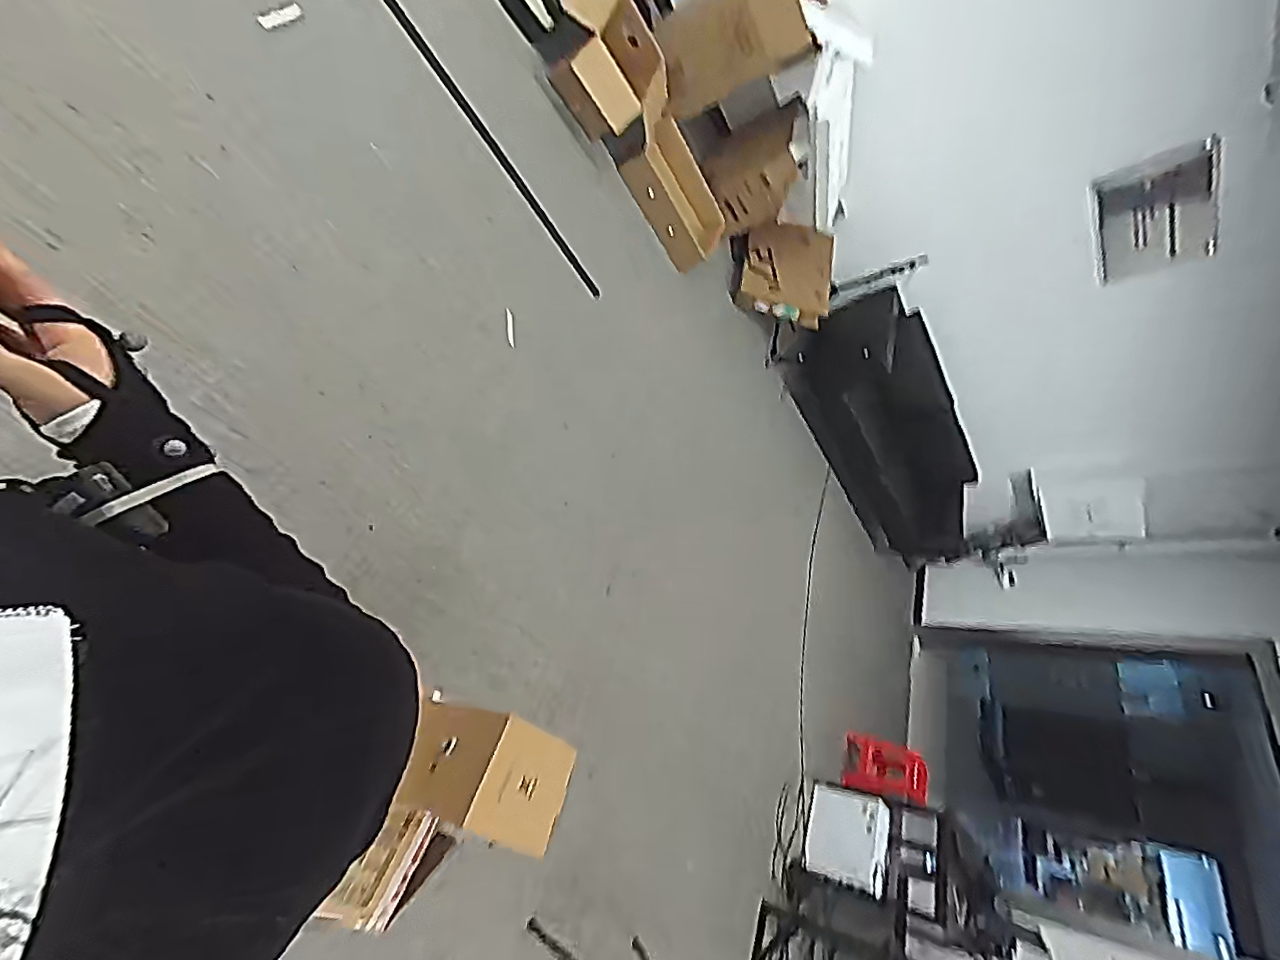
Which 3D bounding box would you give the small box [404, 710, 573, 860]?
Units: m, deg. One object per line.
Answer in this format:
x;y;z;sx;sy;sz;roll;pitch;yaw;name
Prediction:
-0.251;0.501;0.907;0.179;0.176;0.168;47;48;-32;small box

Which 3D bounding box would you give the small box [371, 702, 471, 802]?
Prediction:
-0.361;0.535;1.024;0.179;0.176;0.168;48;48;-32;small box
